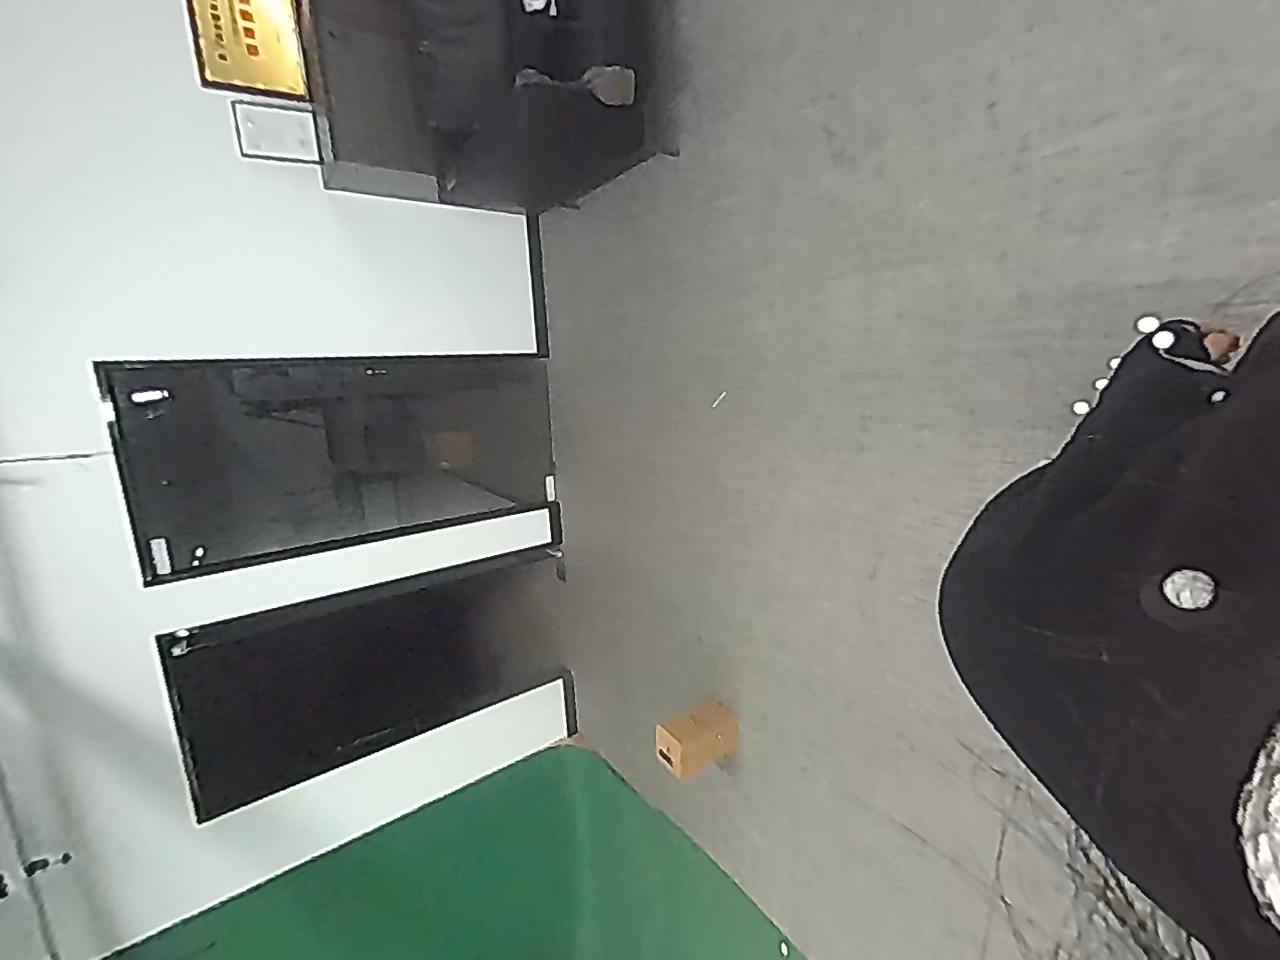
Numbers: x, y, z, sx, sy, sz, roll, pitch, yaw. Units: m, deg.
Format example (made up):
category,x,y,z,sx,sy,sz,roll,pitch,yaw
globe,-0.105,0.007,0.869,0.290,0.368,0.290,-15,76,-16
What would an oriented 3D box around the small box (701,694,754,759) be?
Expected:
category,x,y,z,sx,sy,sz,roll,pitch,yaw
small box,0.389,1.088,2.402,0.168,0.176,0.179,22,117,52
